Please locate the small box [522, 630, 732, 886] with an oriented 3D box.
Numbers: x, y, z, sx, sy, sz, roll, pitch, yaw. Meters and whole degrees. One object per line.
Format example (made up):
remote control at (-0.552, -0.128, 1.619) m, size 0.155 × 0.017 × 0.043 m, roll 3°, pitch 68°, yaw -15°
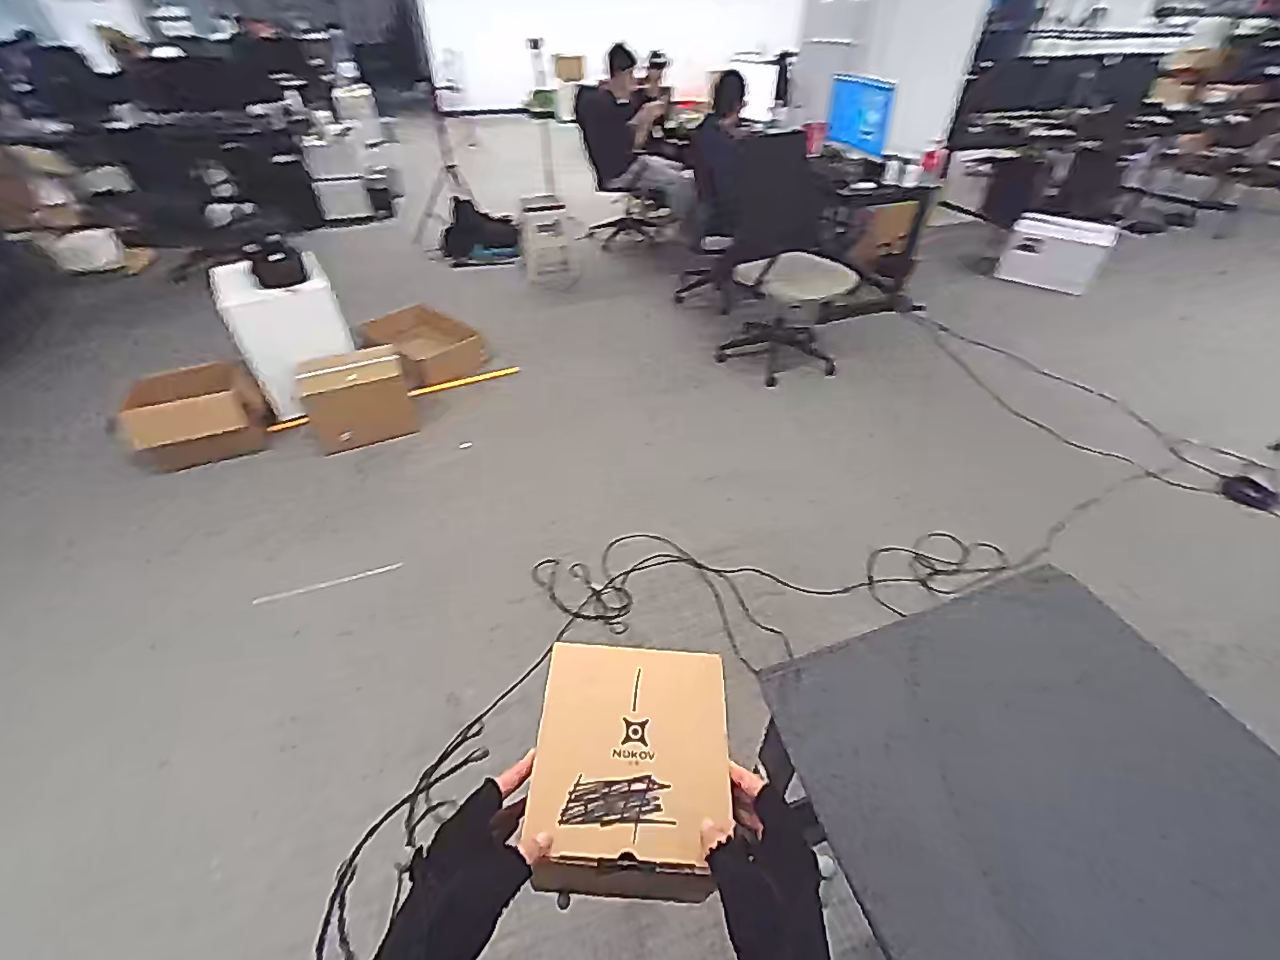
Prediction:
small box at (-0.008, 0.272, 0.525) m, size 0.168 × 0.176 × 0.179 m, roll 6°, pitch 45°, yaw 0°
